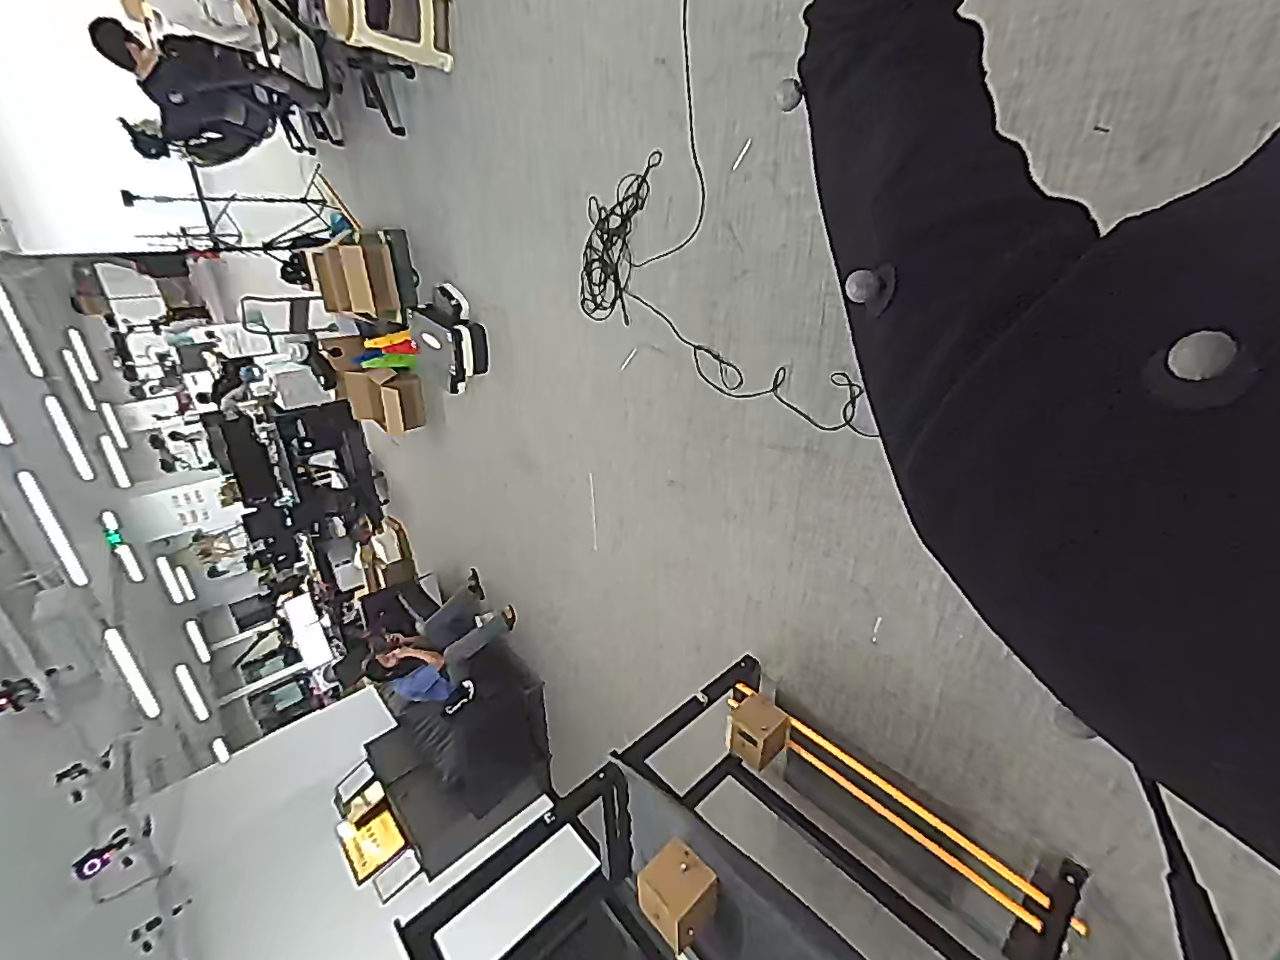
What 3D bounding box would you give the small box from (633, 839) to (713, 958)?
[{"bbox_3d":[0.097,1.208,1.571,0.168,0.176,0.179,22,124,42],"label":"small box"}]
